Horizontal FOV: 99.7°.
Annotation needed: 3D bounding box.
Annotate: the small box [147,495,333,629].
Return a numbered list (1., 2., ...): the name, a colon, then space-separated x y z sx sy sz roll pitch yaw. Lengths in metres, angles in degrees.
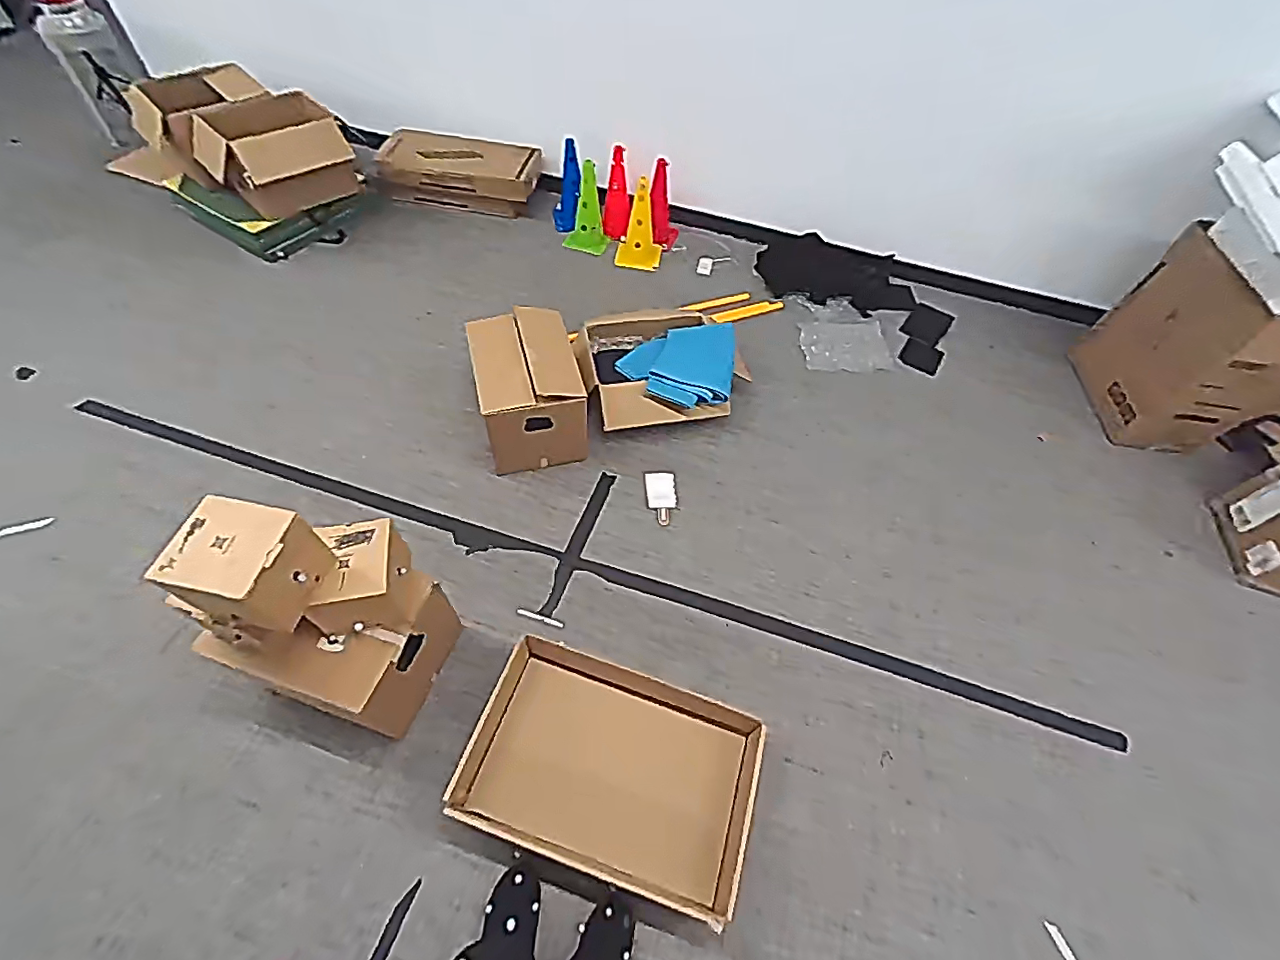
1. small box: -0.696 0.153 0.970 0.179 0.176 0.168 12 56 4

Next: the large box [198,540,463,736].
1. large box: -0.705 0.378 1.309 0.408 0.320 0.320 17 57 6

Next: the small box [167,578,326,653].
1. small box: -0.786 0.232 1.108 0.168 0.176 0.179 17 55 4
